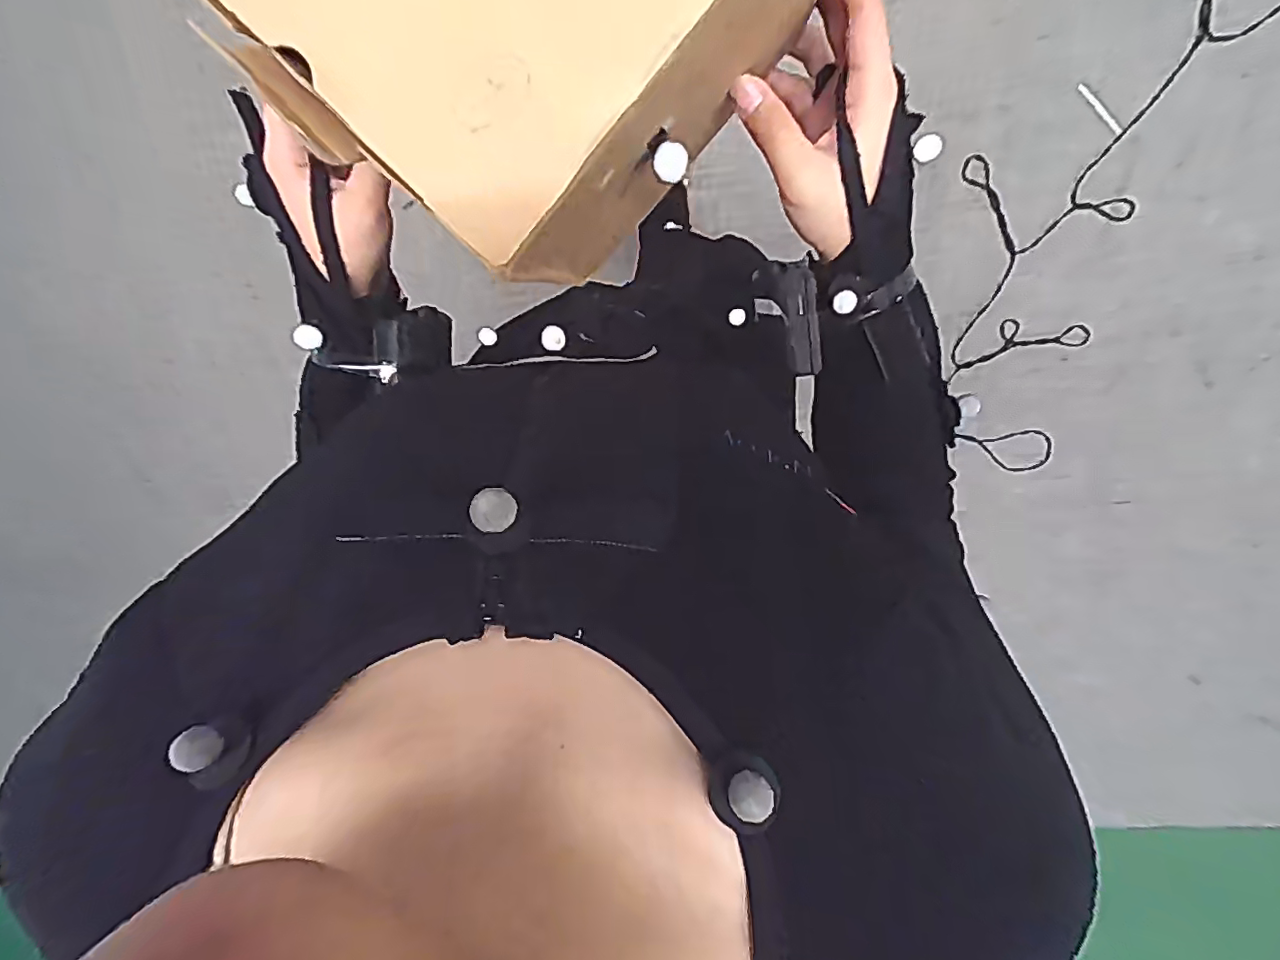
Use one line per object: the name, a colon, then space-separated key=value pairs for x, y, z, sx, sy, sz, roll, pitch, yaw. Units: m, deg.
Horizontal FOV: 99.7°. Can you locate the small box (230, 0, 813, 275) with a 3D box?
small box: x=-0.034 y=-0.207 z=0.229 sx=0.168 sy=0.176 sz=0.179 roll=43 pitch=107 yaw=-10
